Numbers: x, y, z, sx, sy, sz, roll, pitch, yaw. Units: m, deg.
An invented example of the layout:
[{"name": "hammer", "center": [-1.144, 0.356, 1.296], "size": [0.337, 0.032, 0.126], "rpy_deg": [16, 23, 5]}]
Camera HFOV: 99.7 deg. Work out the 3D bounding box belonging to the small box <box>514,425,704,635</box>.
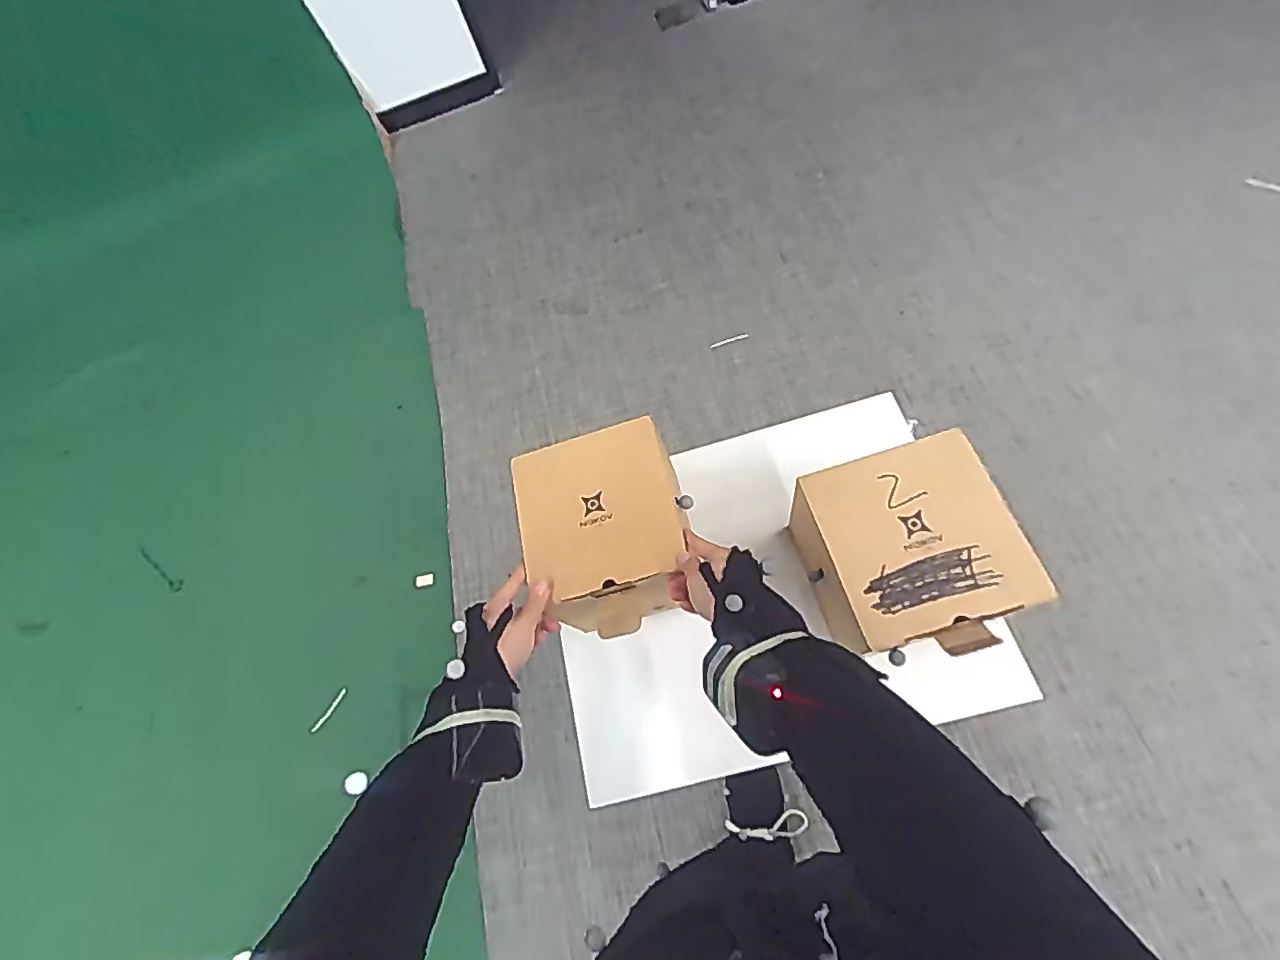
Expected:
[{"name": "small box", "center": [-0.030, 0.067, 0.629], "size": [0.168, 0.176, 0.179], "rpy_deg": [-16, 65, 6]}]
